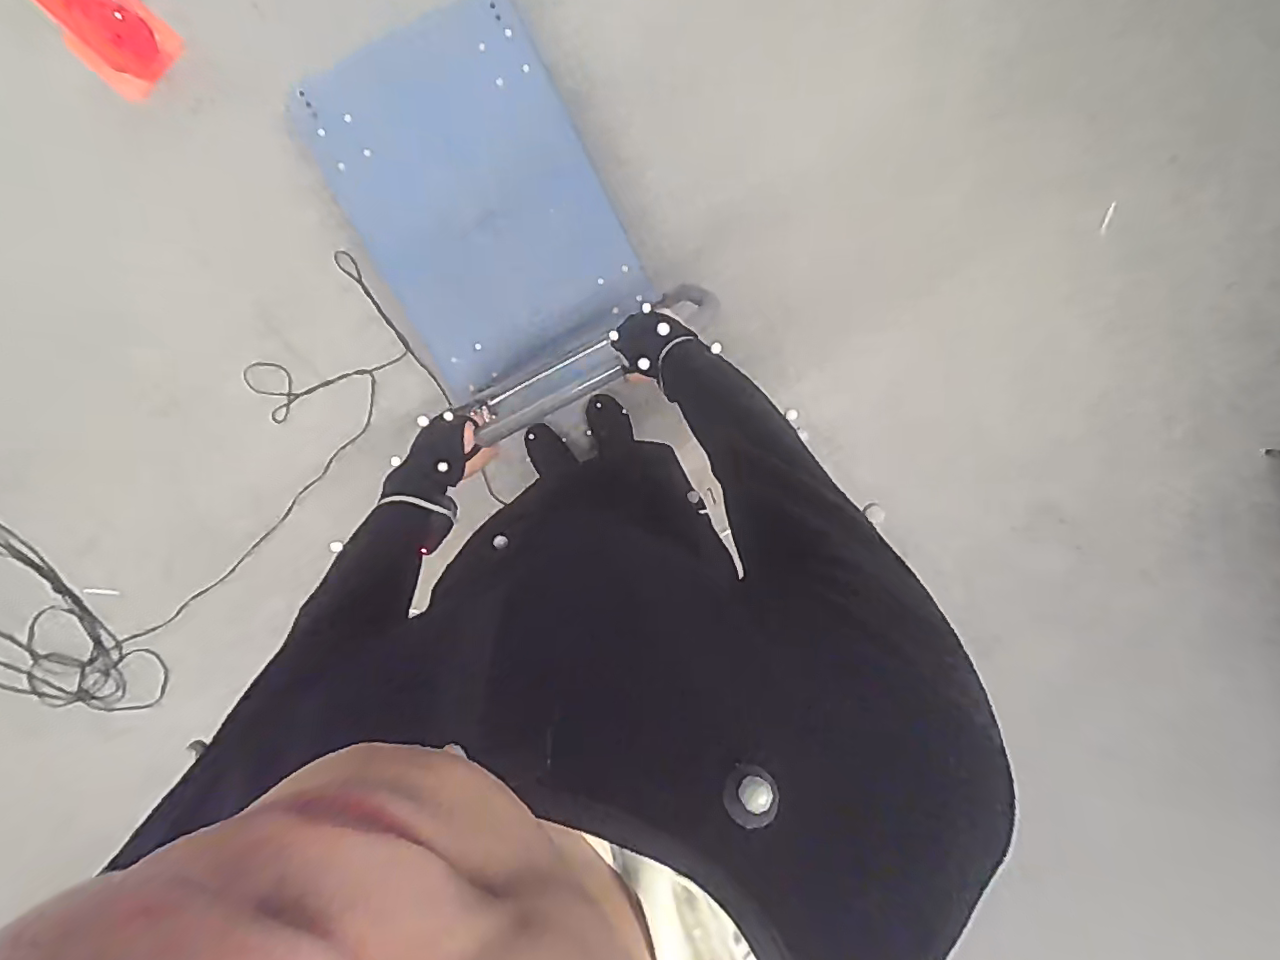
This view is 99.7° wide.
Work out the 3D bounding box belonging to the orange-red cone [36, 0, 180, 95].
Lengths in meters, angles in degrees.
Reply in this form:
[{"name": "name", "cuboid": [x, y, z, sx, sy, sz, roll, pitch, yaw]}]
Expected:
[{"name": "orange-red cone", "cuboid": [-1.249, -1.048, 1.157, 0.198, 0.360, 0.199, 43, 96, -10]}]
